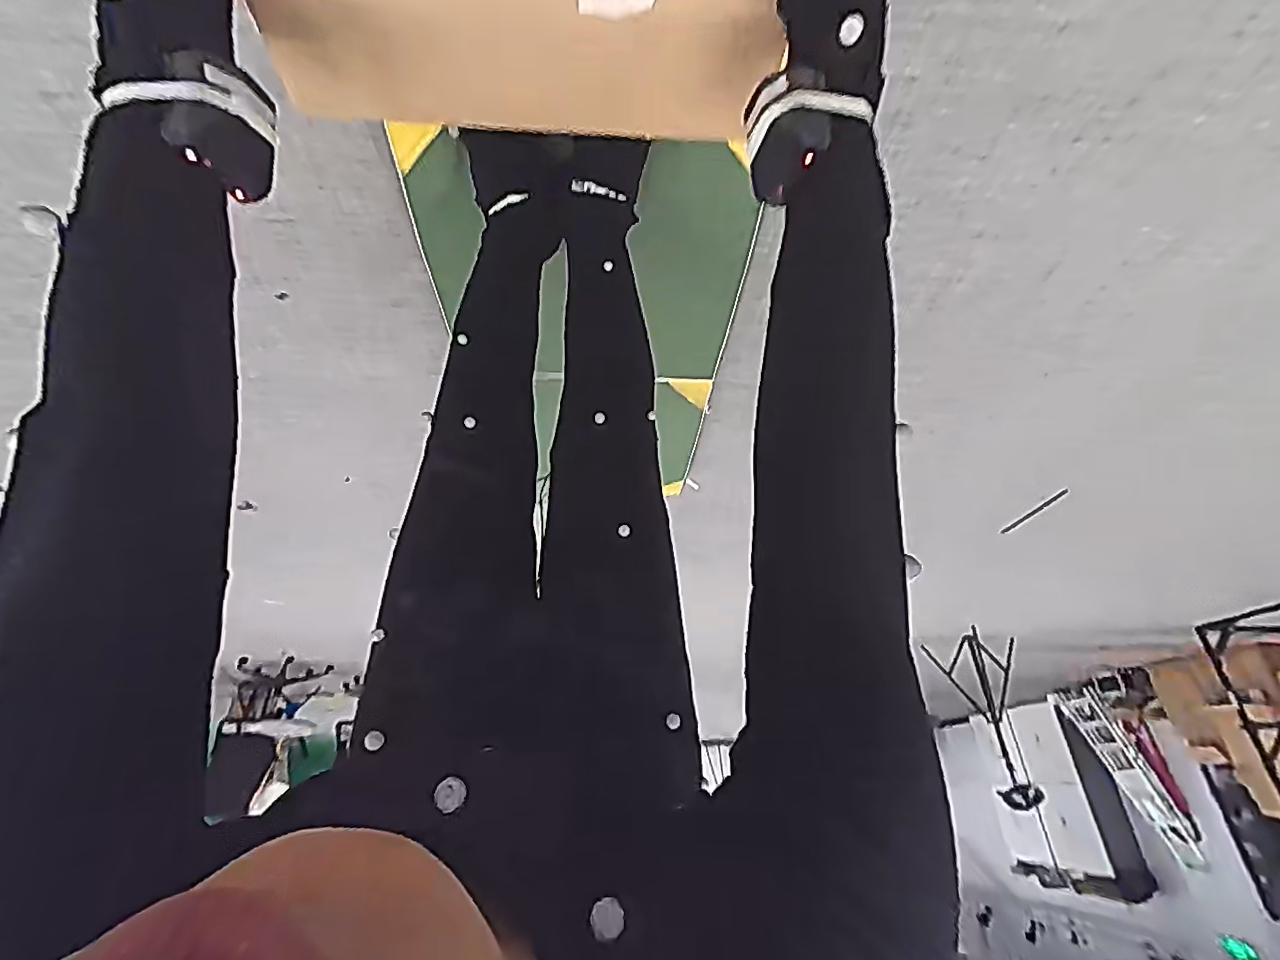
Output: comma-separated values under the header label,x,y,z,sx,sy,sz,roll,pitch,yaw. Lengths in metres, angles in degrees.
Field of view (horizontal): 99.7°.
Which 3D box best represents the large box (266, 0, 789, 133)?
label,x,y,z,sx,sy,sz,roll,pitch,yaw
large box,-0.087,-0.524,0.439,0.408,0.320,0.320,0,148,-5
